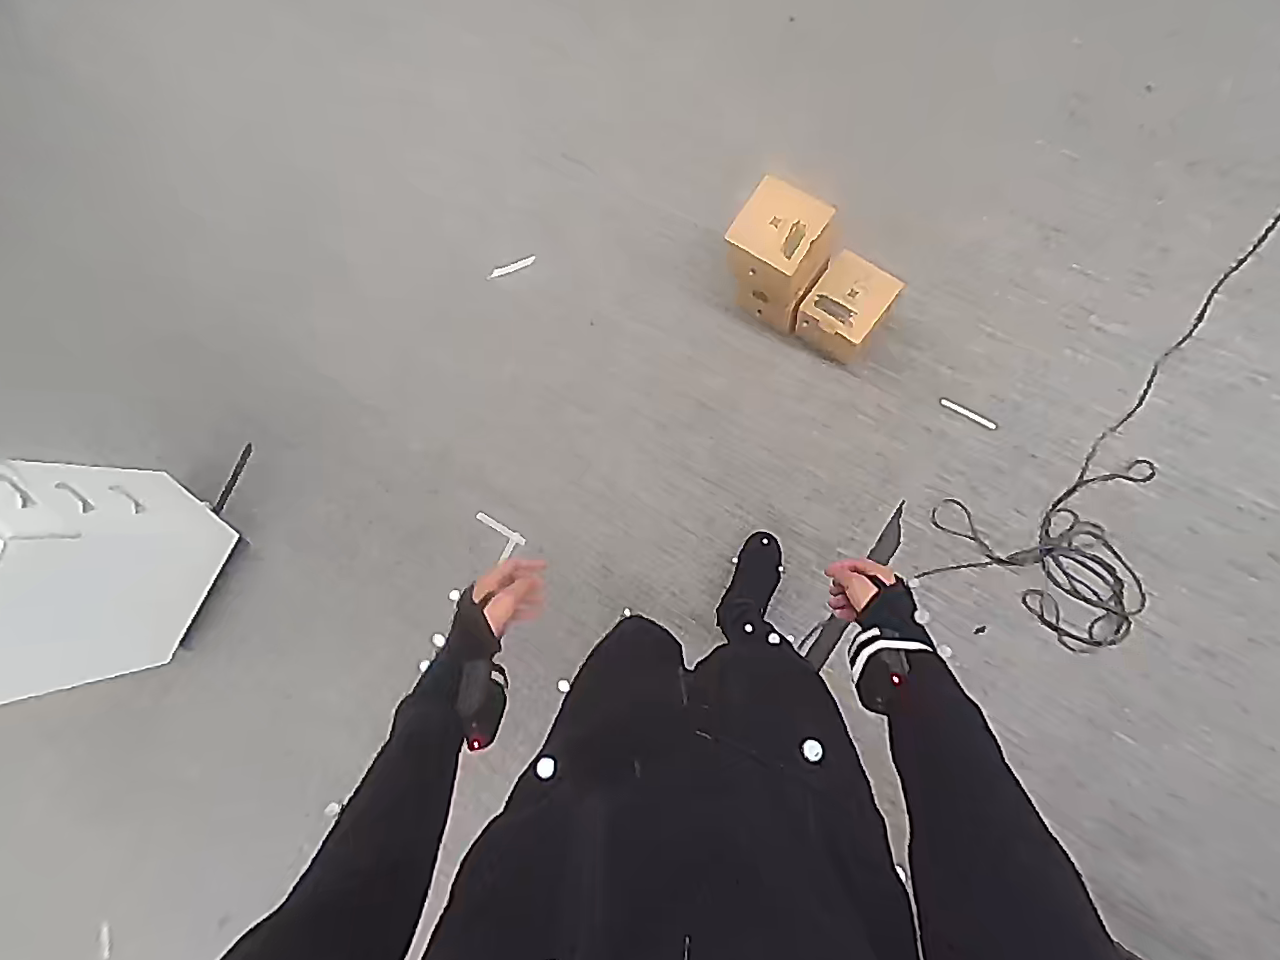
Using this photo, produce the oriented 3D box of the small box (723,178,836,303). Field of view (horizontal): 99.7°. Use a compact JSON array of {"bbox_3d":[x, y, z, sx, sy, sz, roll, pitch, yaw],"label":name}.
[{"bbox_3d":[0.311,-0.525,1.214,0.179,0.176,0.168,36,94,14],"label":"small box"}]
